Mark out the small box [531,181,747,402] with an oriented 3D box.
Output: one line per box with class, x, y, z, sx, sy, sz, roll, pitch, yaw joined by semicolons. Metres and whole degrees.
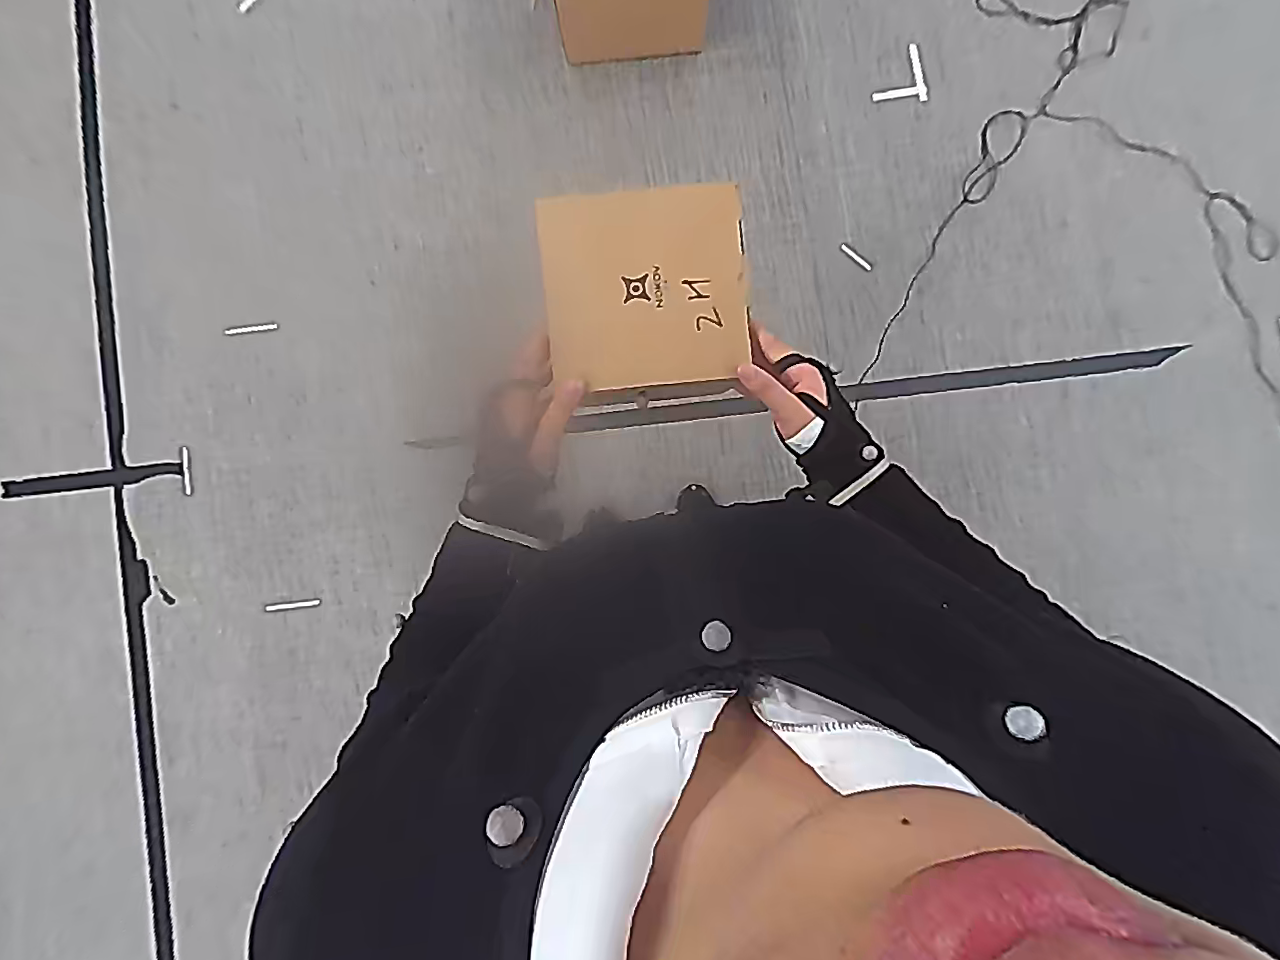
small box;-0.001;-0.172;0.545;0.179;0.176;0.168;-6;94;-2
